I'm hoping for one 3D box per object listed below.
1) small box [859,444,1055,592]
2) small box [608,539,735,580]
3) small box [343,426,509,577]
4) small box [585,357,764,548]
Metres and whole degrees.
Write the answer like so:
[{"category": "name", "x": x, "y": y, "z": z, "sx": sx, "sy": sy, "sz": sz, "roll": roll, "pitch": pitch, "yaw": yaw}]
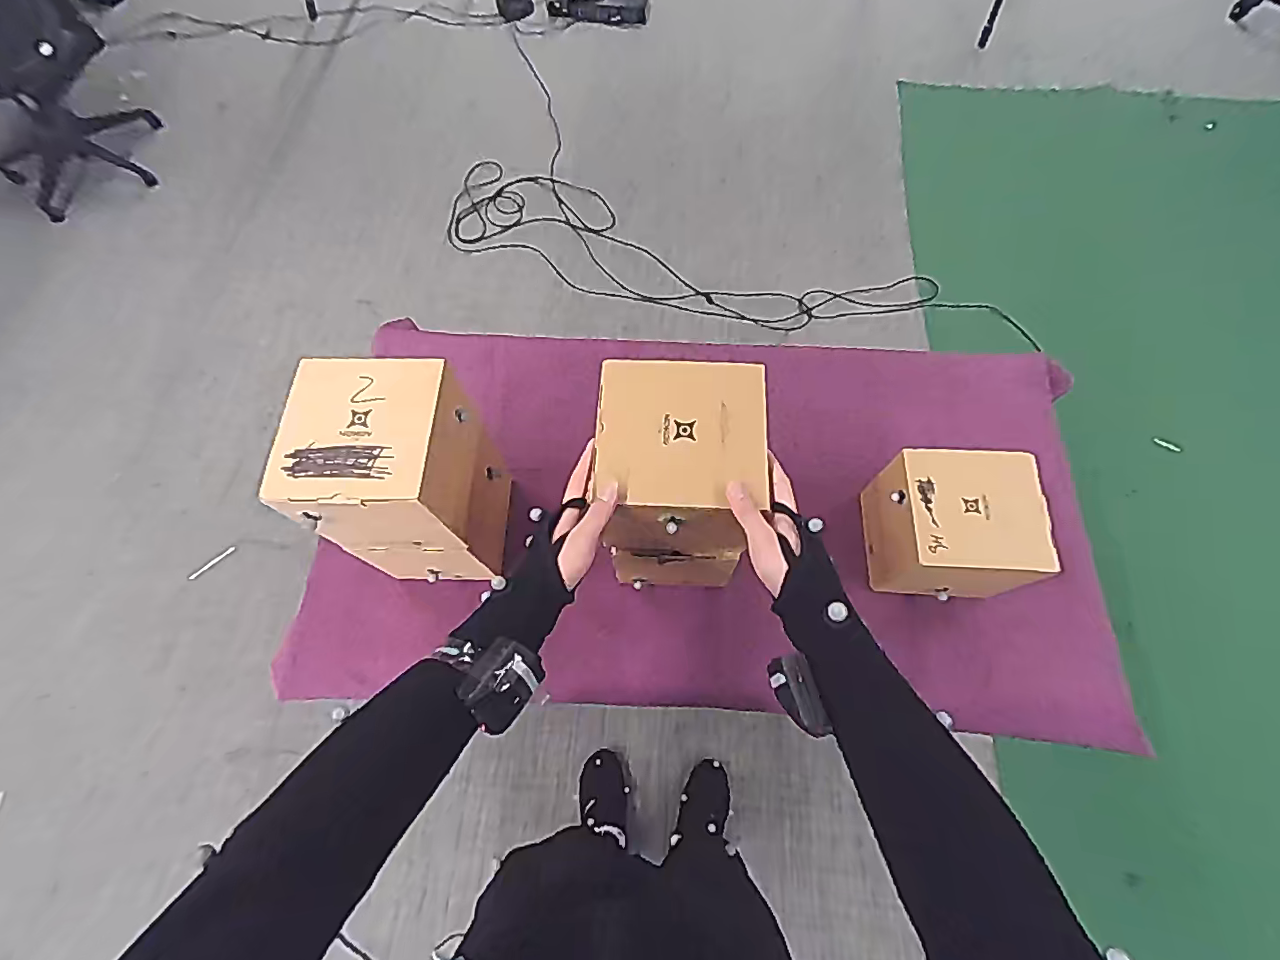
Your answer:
[{"category": "small box", "x": 0.437, "y": 0.061, "z": 0.776, "sx": 0.179, "sy": 0.176, "sz": 0.168, "roll": 3, "pitch": 67, "yaw": 3}, {"category": "small box", "x": 0.047, "y": 0.044, "z": 0.793, "sx": 0.168, "sy": 0.176, "sz": 0.179, "roll": 2, "pitch": 67, "yaw": 2}, {"category": "small box", "x": -0.300, "y": 0.037, "z": 0.802, "sx": 0.168, "sy": 0.176, "sz": 0.179, "roll": 1, "pitch": 67, "yaw": 2}, {"category": "small box", "x": 0.041, "y": -0.023, "z": 0.624, "sx": 0.179, "sy": 0.176, "sz": 0.168, "roll": 3, "pitch": 69, "yaw": 3}]
